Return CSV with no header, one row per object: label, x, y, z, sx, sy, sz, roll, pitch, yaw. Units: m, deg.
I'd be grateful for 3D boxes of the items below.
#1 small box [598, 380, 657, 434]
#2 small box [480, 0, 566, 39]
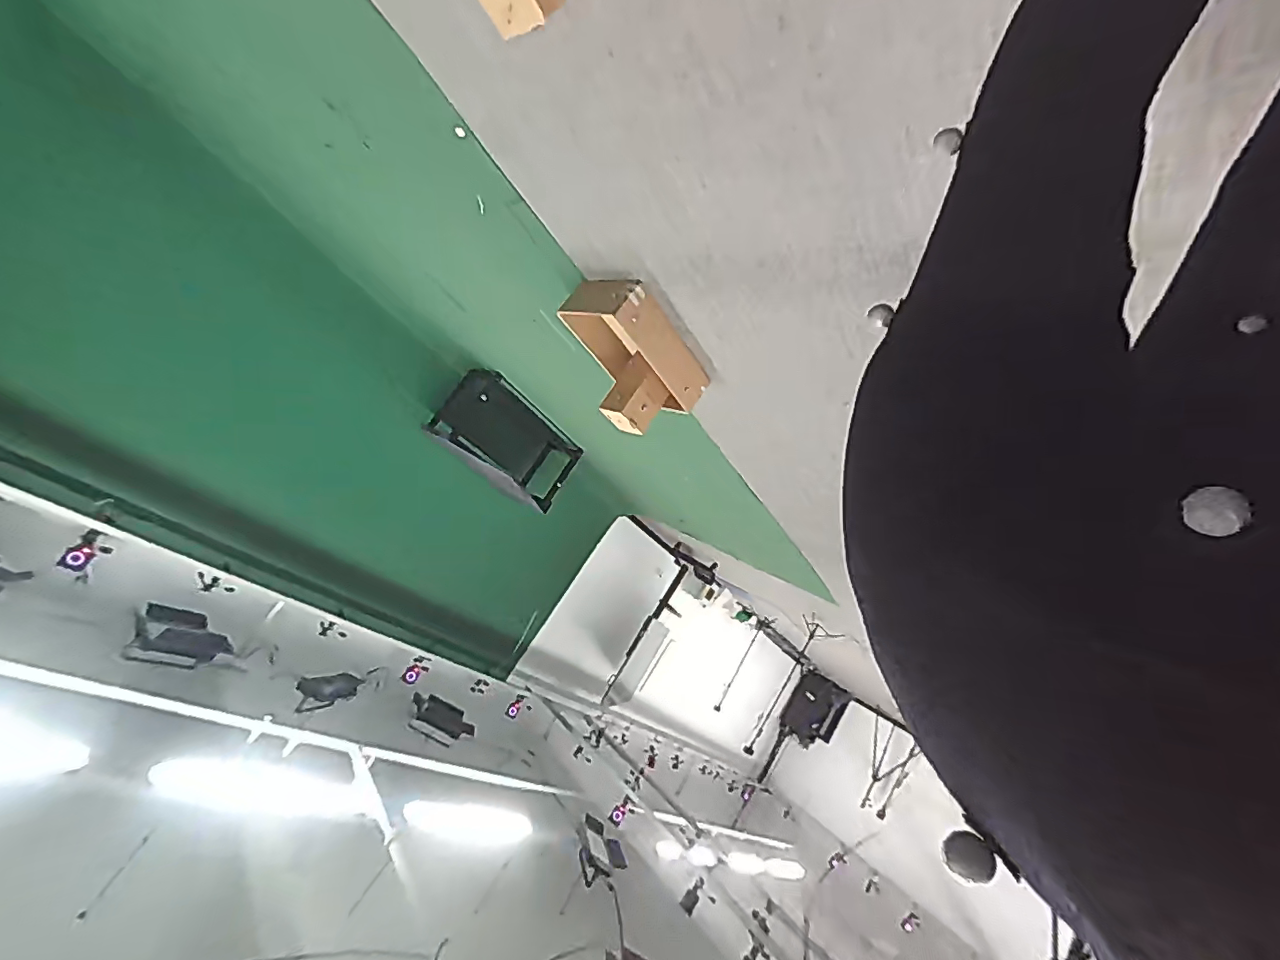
small box,-0.046,-0.325,2.390,0.179,0.176,0.168,17,160,48
small box,-0.236,-1.046,1.080,0.168,0.176,0.179,24,165,41
